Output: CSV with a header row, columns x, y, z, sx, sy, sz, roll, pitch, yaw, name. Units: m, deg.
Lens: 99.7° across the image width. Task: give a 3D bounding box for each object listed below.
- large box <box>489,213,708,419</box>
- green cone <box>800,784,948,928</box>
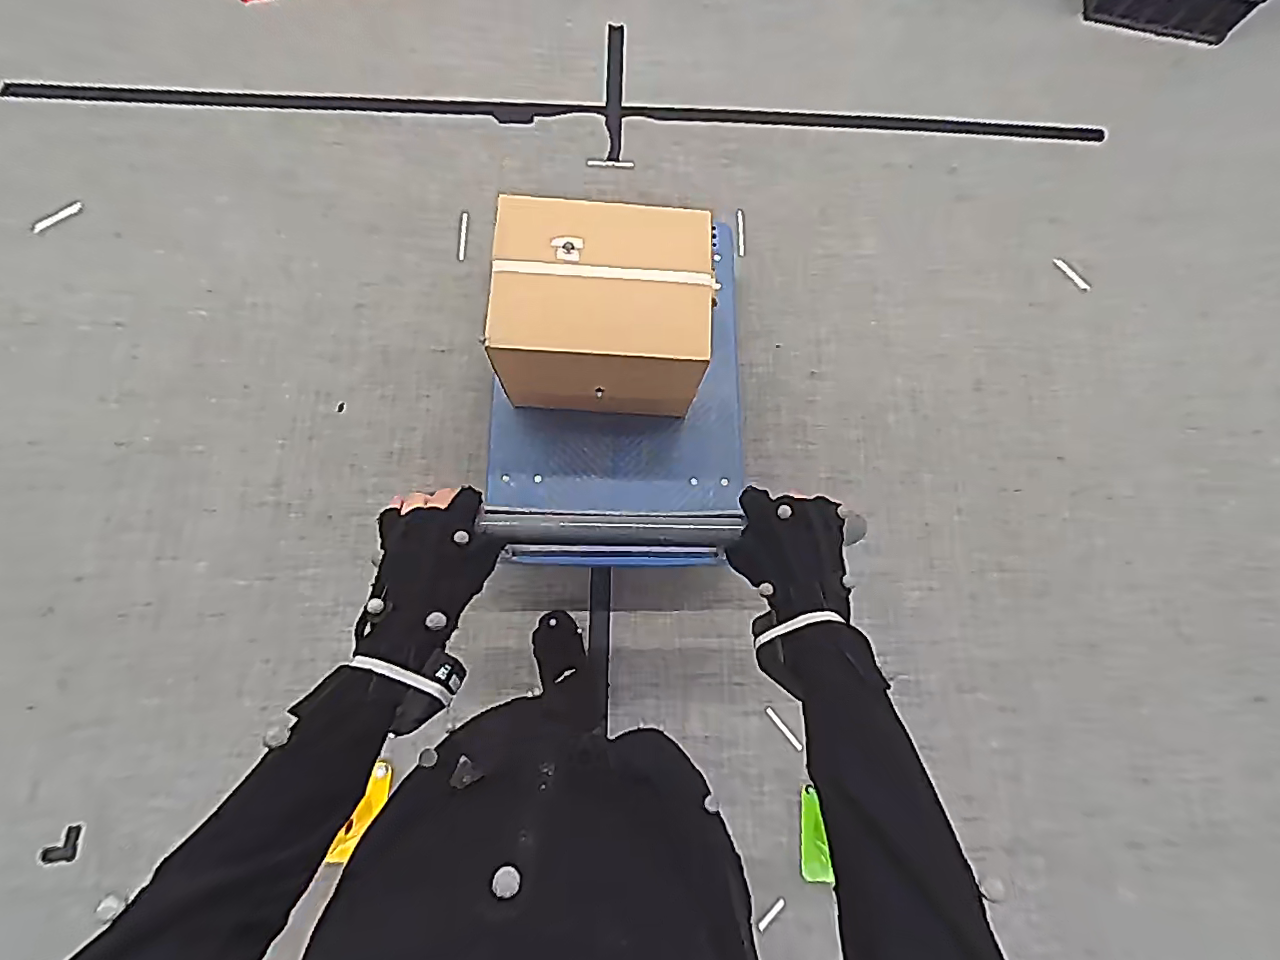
x,y,z,sx,sy,sz,roll,pitch,yaw,name
-0.076,-0.326,1.157,0.408,0.320,0.320,3,77,-2,large box
0.478,0.774,1.078,0.202,0.368,0.200,5,77,-3,green cone
